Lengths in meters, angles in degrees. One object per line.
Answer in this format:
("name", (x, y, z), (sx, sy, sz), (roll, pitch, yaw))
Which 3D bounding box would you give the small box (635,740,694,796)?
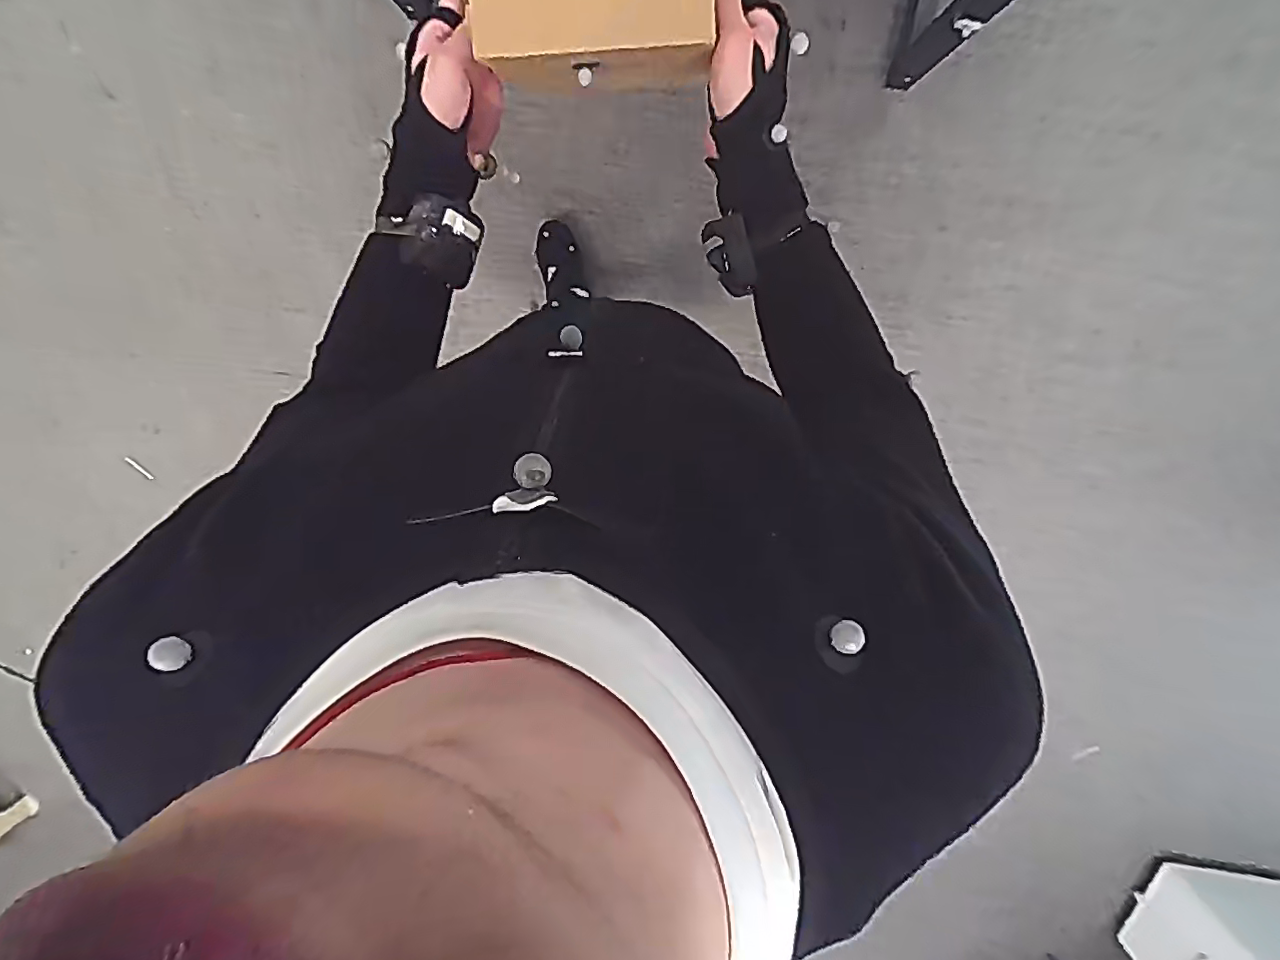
("small box", (0.086, 1.018, 1.841), (0.179, 0.176, 0.168), (-15, 109, 4))

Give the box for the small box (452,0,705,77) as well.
("small box", (-0.035, -0.423, 0.415), (0.179, 0.176, 0.168), (5, 121, 4))
